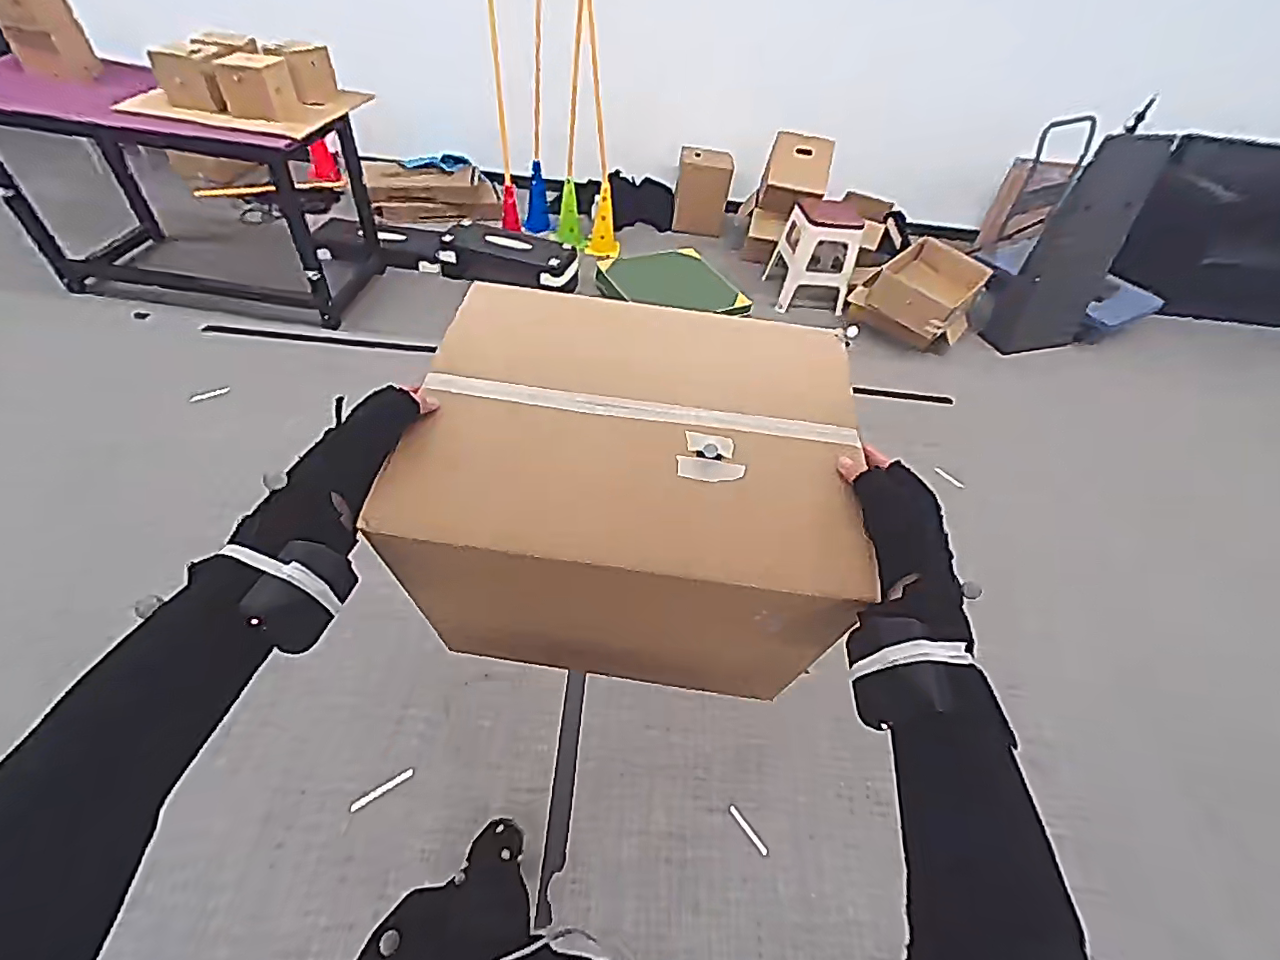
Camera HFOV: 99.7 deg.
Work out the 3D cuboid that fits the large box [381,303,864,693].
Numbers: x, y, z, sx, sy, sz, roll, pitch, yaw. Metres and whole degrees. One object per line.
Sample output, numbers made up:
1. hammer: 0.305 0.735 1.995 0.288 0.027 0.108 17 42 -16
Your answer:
1. large box: -0.010 0.034 0.640 0.408 0.320 0.320 9 56 1
